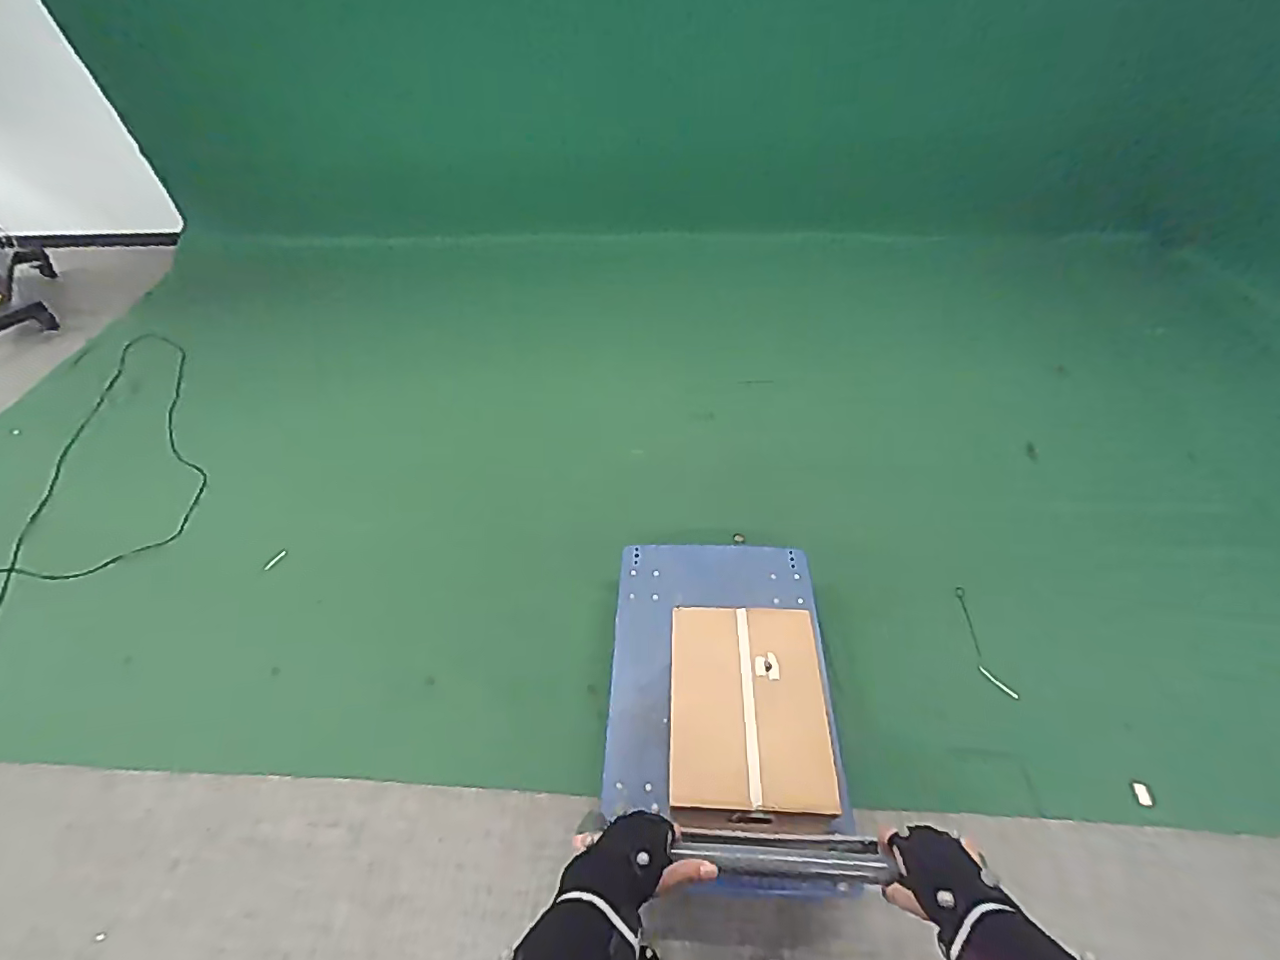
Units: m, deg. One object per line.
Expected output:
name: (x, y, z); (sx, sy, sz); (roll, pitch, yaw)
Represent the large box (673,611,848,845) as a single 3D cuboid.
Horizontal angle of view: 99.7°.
large box: (0.232, 0.549, 1.203); (0.320, 0.320, 0.408); (1, 48, 3)
